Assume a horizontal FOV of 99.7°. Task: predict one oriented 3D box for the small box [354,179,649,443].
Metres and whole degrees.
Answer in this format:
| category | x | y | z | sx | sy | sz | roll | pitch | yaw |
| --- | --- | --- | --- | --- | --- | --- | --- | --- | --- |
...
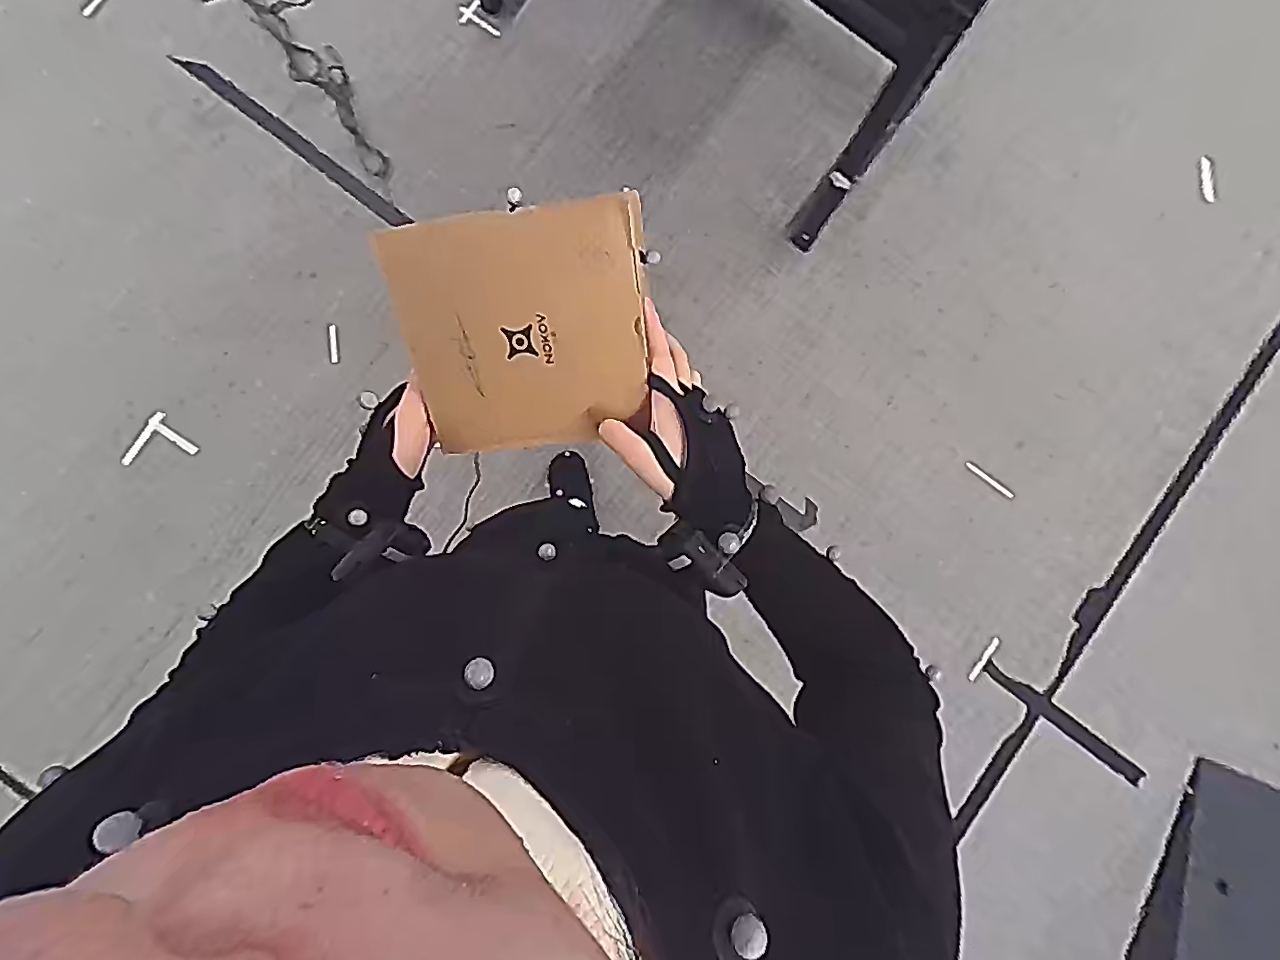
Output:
| category | x | y | z | sx | sy | sz | roll | pitch | yaw |
| --- | --- | --- | --- | --- | --- | --- | --- | --- | --- |
| small box | -0.088 | -0.146 | 0.446 | 0.179 | 0.176 | 0.168 | -5 | 118 | 5 |
